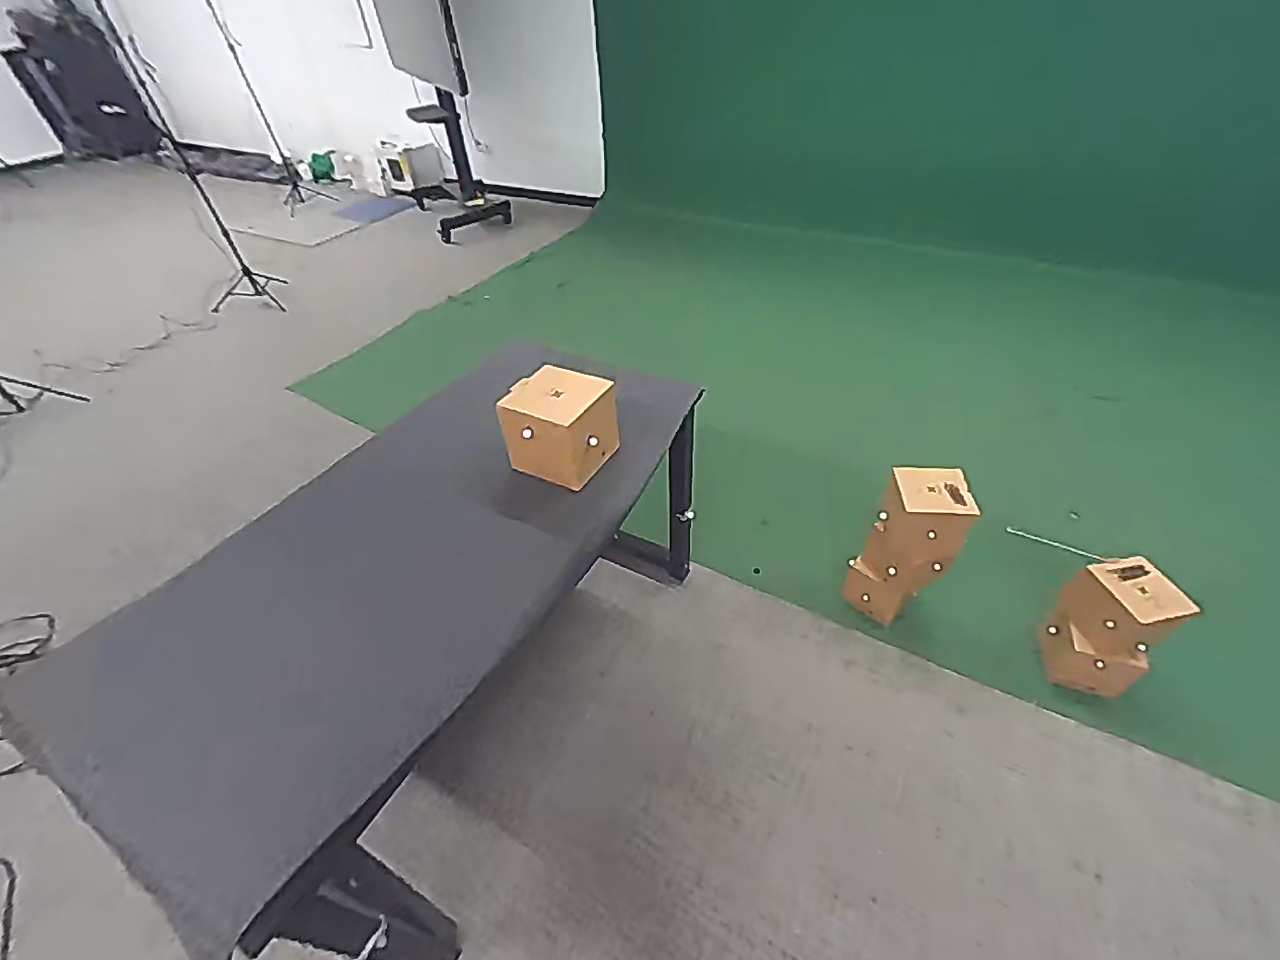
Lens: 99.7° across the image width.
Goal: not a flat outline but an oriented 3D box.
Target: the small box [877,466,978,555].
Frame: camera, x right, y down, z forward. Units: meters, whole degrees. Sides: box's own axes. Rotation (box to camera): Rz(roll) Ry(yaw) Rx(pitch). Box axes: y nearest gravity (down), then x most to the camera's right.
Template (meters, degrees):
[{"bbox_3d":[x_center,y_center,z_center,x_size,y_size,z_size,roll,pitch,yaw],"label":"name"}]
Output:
[{"bbox_3d":[0.753,0.083,1.436,0.179,0.176,0.168,2,45,7],"label":"small box"}]

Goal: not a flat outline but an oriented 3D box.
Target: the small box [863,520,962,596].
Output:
[{"bbox_3d":[0.766,0.204,1.547,0.179,0.176,0.168,-18,47,-16],"label":"small box"}]

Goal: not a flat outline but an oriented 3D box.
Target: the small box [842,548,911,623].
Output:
[{"bbox_3d":[0.748,0.307,1.675,0.179,0.176,0.168,-35,53,-29],"label":"small box"}]

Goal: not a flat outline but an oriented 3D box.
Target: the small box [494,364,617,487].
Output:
[{"bbox_3d":[-0.161,-0.109,1.105,0.179,0.176,0.168,18,48,23],"label":"small box"}]

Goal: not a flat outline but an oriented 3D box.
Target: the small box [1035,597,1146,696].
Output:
[{"bbox_3d":[1.228,0.460,1.491,0.168,0.176,0.179,13,45,16],"label":"small box"}]
